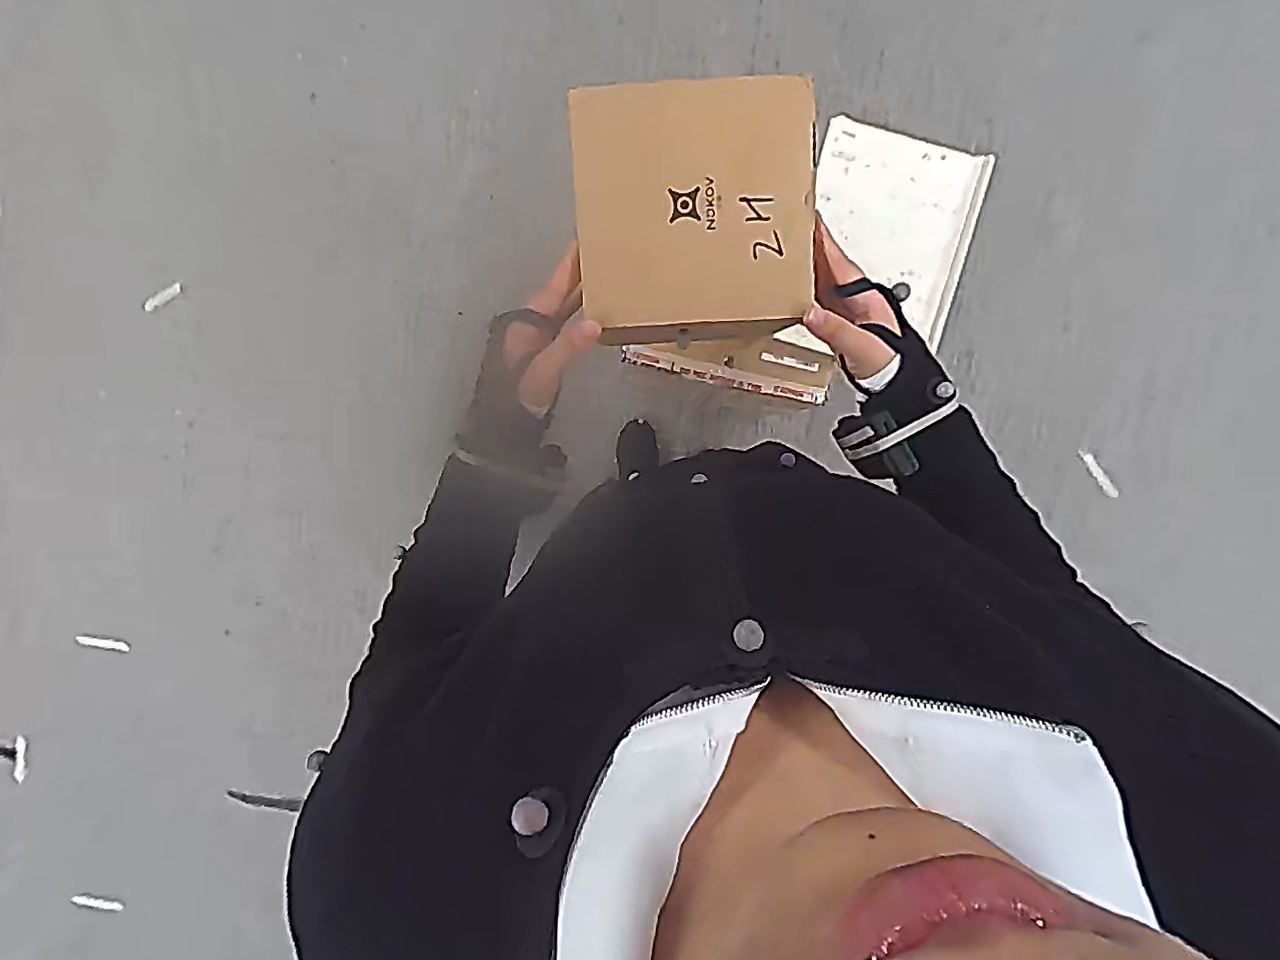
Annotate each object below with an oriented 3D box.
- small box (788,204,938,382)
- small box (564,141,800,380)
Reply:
[{"bbox_3d":[0.272,-0.246,0.757,0.168,0.176,0.179,15,96,-2],"label":"small box"},{"bbox_3d":[0.034,-0.177,0.488,0.179,0.176,0.168,-3,100,0],"label":"small box"}]
